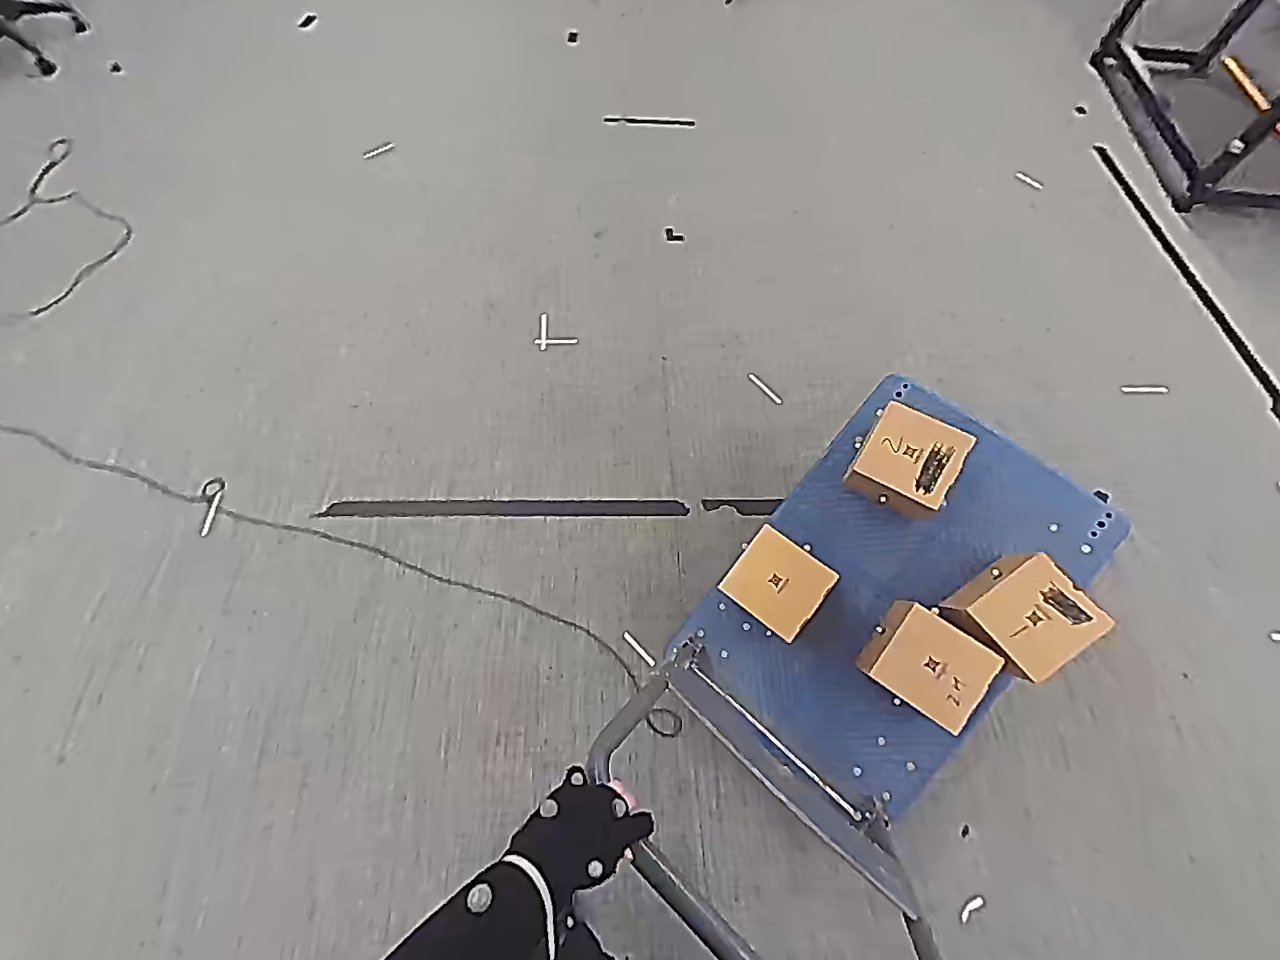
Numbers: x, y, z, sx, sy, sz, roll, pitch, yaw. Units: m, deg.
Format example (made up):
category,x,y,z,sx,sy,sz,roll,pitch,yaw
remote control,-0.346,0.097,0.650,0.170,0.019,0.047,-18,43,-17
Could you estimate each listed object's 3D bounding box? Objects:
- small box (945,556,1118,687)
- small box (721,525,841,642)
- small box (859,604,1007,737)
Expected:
category,x,y,z,sx,sy,sz,roll,pitch,yaw
small box,0.730,0.262,1.035,0.179,0.176,0.168,-37,74,3
small box,0.291,0.218,1.145,0.179,0.176,0.168,37,88,15
small box,0.555,0.361,1.056,0.179,0.176,0.168,35,88,17
